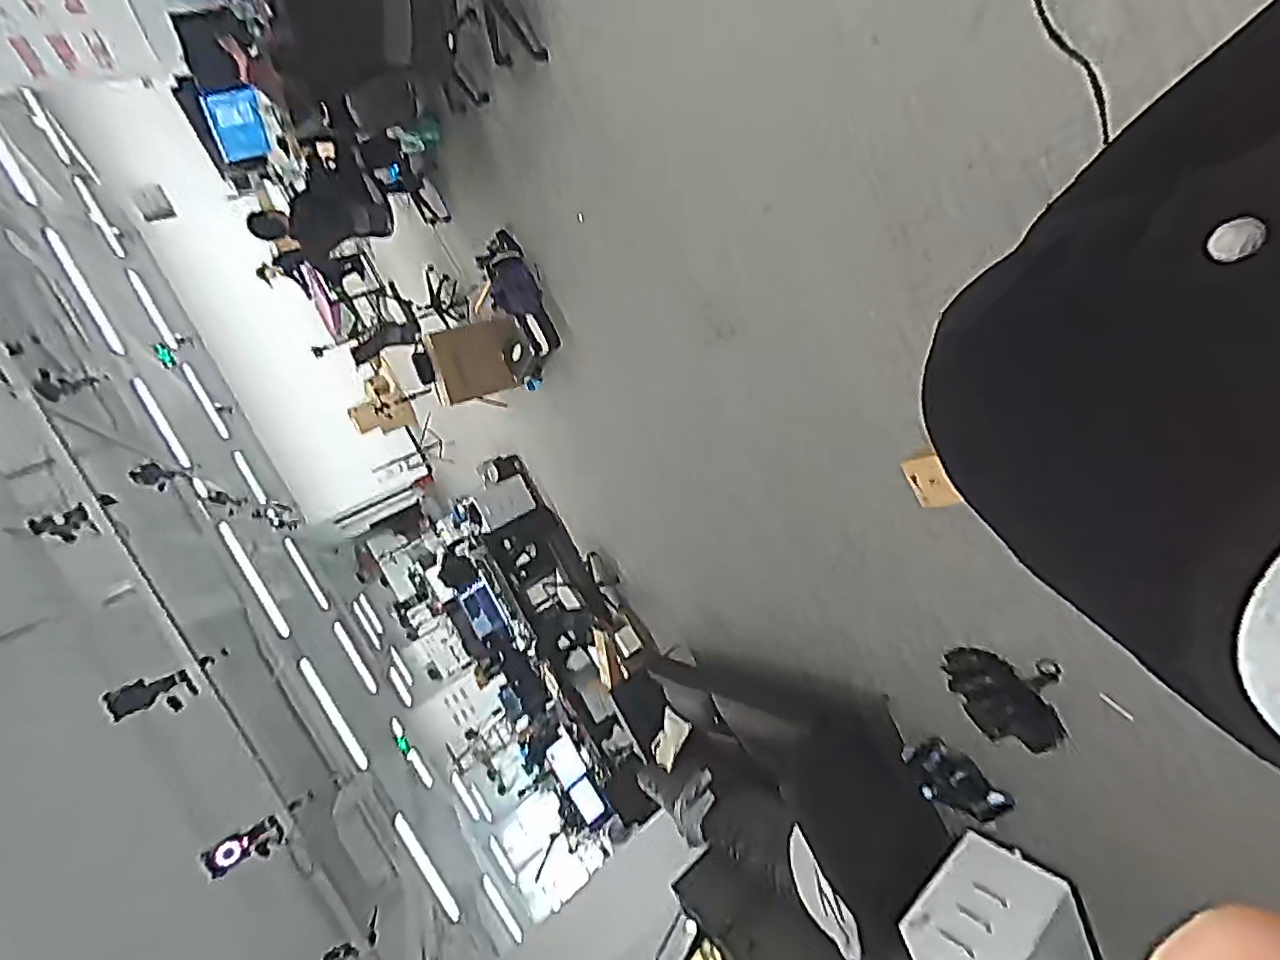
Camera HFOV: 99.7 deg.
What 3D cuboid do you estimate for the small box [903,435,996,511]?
[{"bbox_3d":[0.976,-0.022,1.693,0.168,0.176,0.179,60,154,-3],"label":"small box"}]
